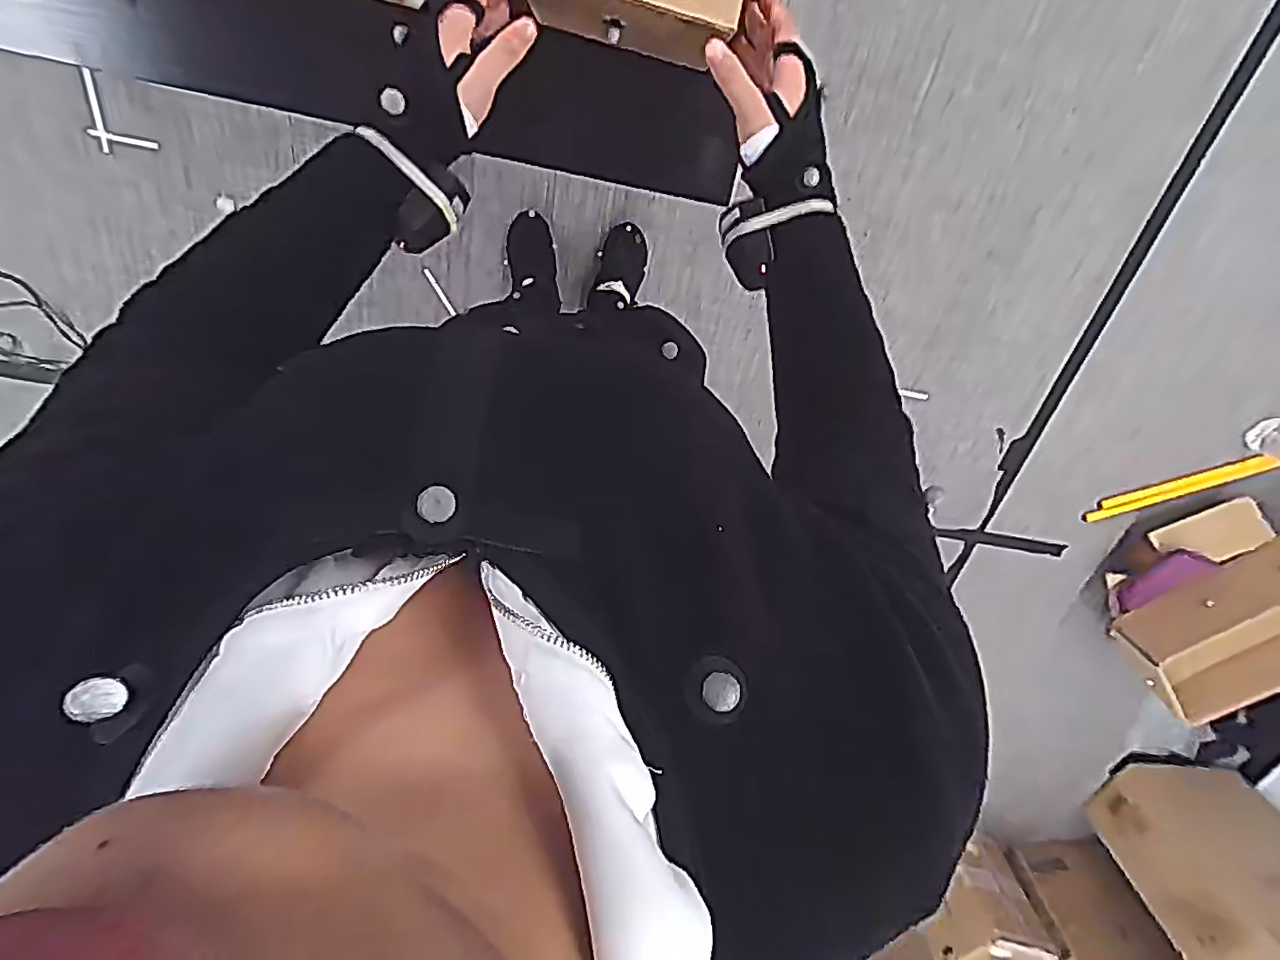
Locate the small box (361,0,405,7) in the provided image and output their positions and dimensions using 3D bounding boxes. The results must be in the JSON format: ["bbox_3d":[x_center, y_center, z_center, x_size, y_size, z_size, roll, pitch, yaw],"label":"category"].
[{"bbox_3d":[-0.275,-0.501,0.411,0.179,0.176,0.168,9,117,-7],"label":"small box"}]

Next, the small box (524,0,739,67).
[{"bbox_3d":[0.000,-0.466,0.441,0.179,0.176,0.168,11,117,-7],"label":"small box"}]
